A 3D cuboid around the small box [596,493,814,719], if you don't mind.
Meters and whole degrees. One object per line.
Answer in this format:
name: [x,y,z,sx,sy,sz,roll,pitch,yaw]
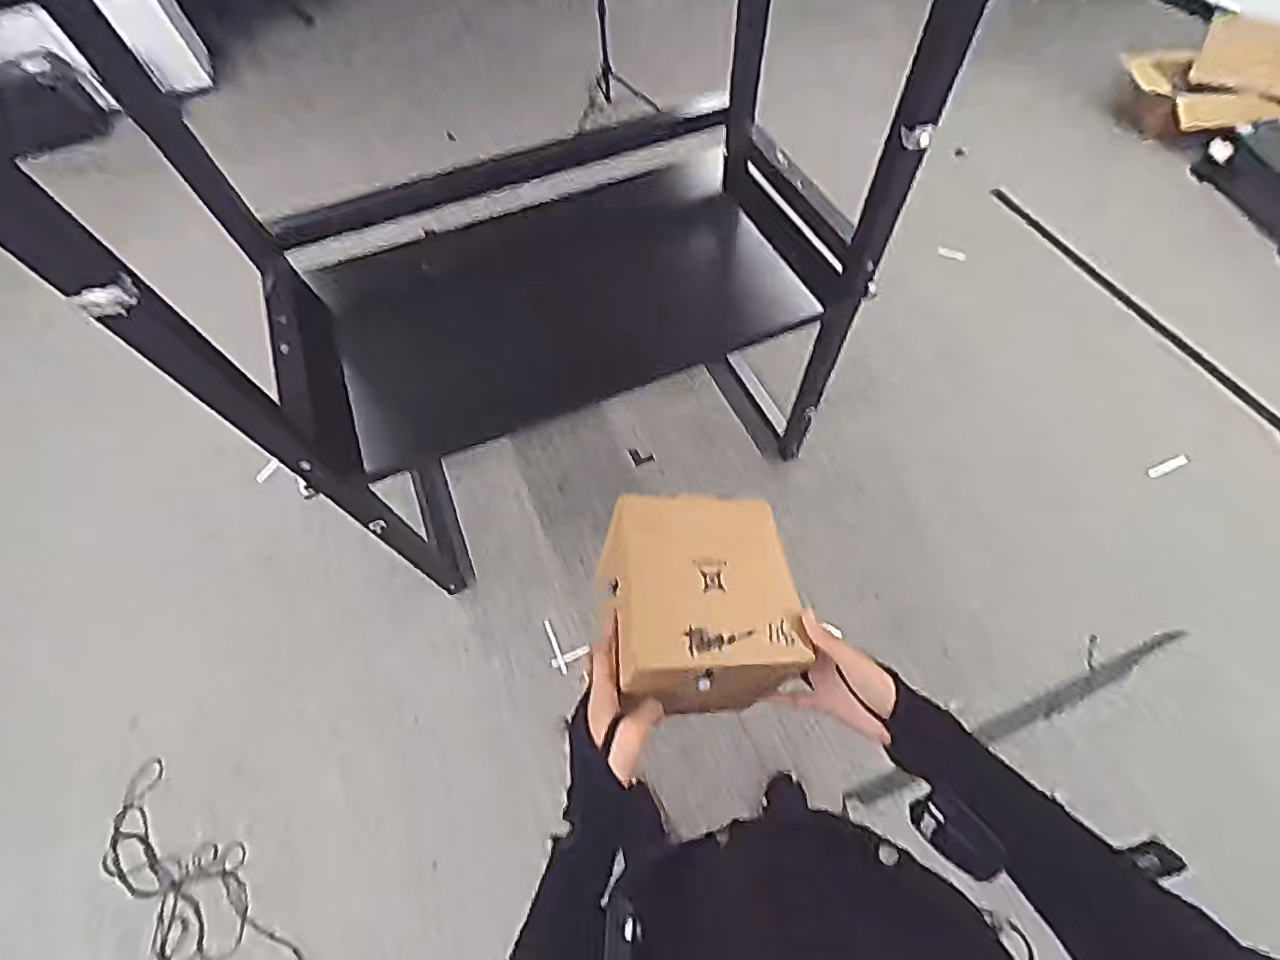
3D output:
small box: [0.049,0.135,0.570,0.168,0.176,0.179,3,52,-14]
